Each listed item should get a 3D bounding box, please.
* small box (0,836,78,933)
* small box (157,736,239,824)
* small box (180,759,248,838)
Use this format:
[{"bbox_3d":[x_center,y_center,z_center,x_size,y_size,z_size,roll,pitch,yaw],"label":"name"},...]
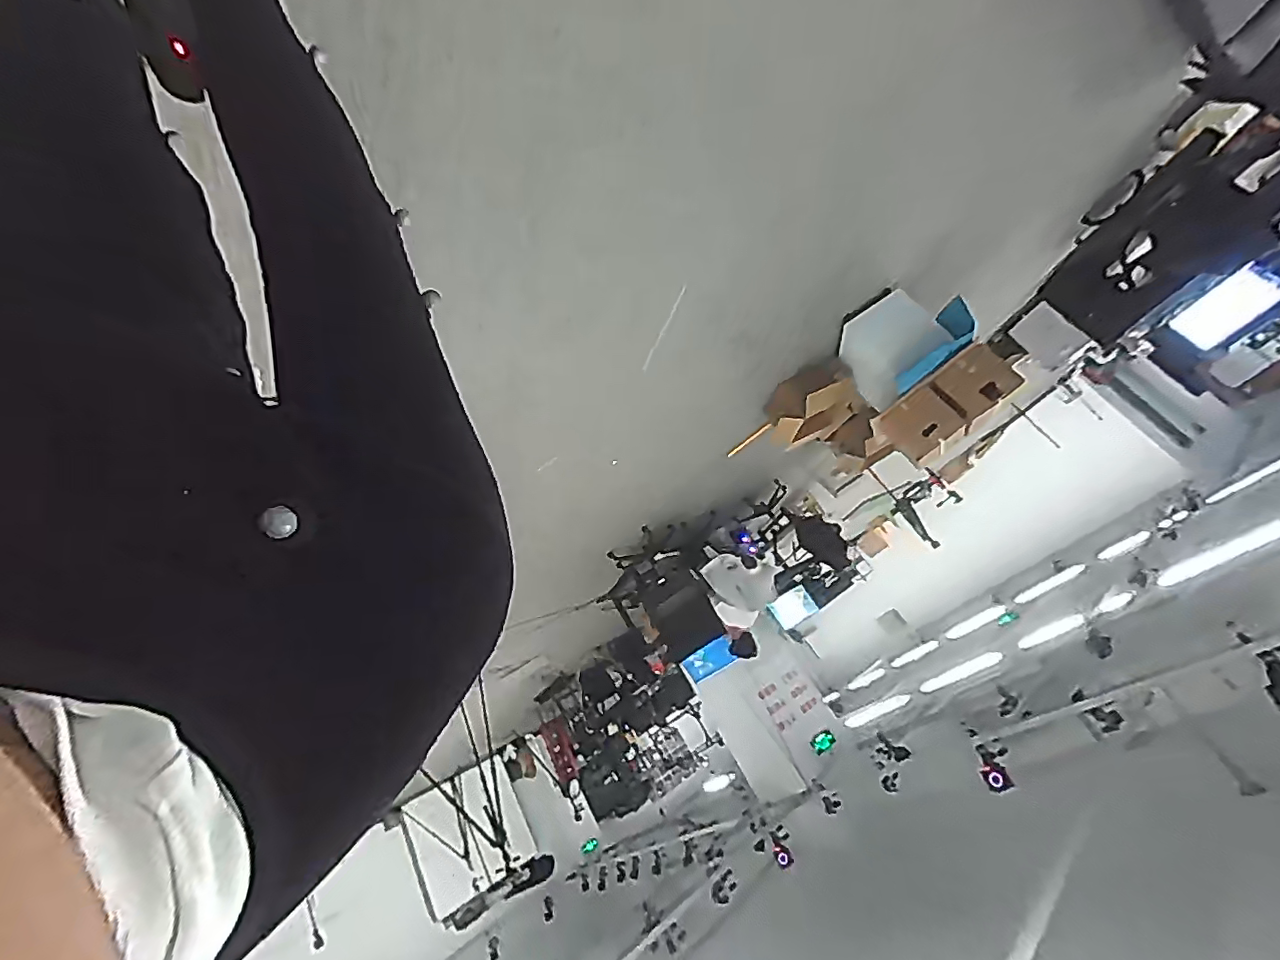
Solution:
[{"bbox_3d":[-1.819,1.194,1.603,0.168,0.176,0.179,-18,153,-39],"label":"small box"},{"bbox_3d":[-1.356,0.919,1.664,0.168,0.176,0.179,-15,152,-39],"label":"small box"},{"bbox_3d":[-1.480,1.095,1.869,0.168,0.176,0.179,-15,151,-37],"label":"small box"}]
